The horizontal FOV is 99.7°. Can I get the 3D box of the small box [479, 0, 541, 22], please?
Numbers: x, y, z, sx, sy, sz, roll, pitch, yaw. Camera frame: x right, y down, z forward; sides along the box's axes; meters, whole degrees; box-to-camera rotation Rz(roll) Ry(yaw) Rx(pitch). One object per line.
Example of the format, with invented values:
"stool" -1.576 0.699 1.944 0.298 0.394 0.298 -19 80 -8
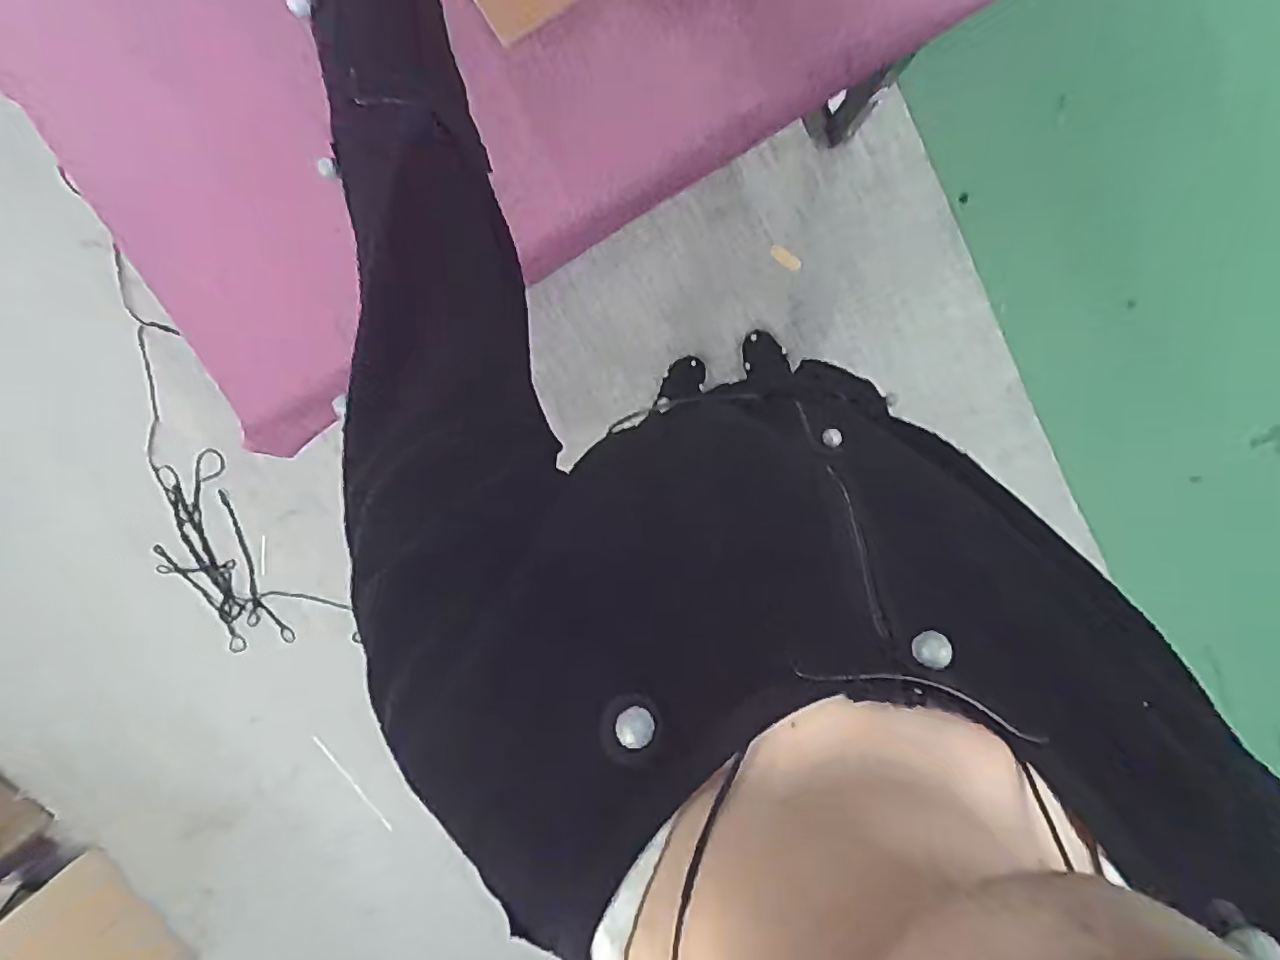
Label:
"small box" -0.136 -0.622 0.542 0.179 0.176 0.168 -23 103 12
